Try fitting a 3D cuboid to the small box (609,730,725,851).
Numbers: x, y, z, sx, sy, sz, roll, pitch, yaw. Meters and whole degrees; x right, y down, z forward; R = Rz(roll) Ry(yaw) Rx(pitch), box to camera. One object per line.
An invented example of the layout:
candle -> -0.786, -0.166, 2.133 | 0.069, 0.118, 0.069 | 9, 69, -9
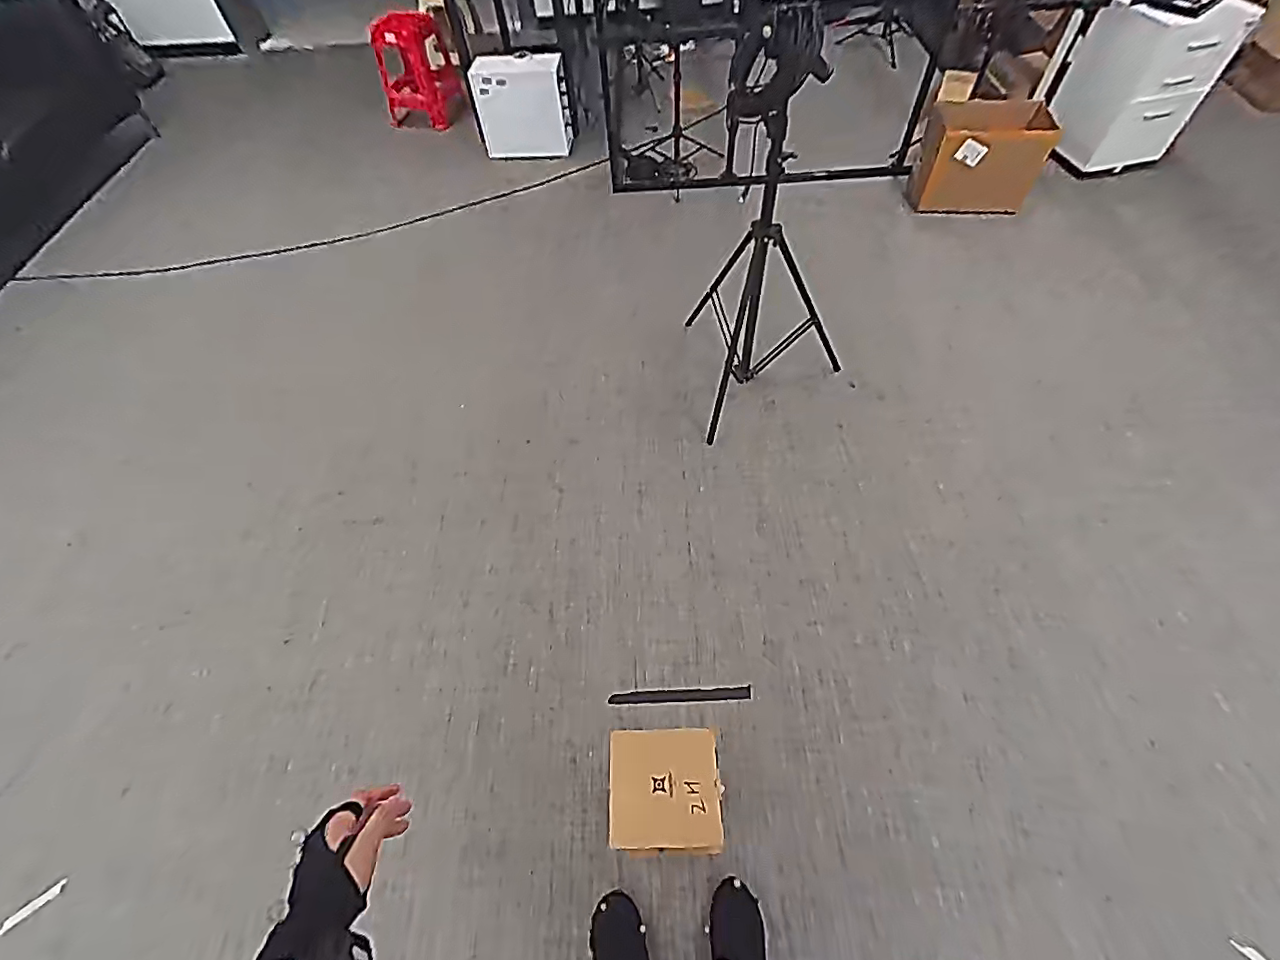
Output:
small box -> 0.044, 0.523, 0.909 | 0.179, 0.176, 0.168 | -2, 57, 2
